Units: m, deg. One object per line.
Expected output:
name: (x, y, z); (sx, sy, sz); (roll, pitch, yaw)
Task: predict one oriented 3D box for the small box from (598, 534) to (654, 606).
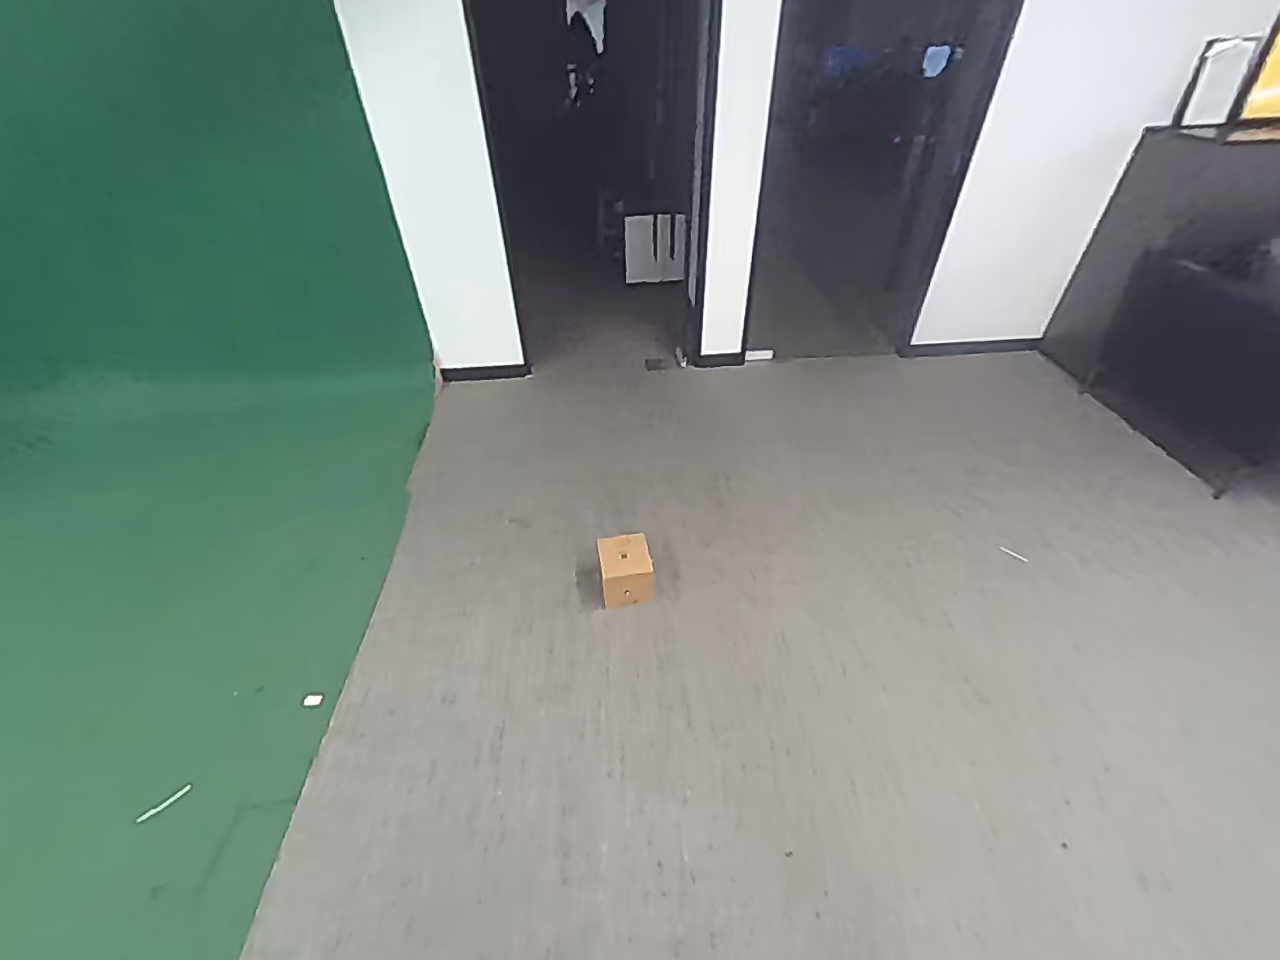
small box: (-0.047, 0.310, 1.836); (0.168, 0.176, 0.179); (-7, 41, -7)
